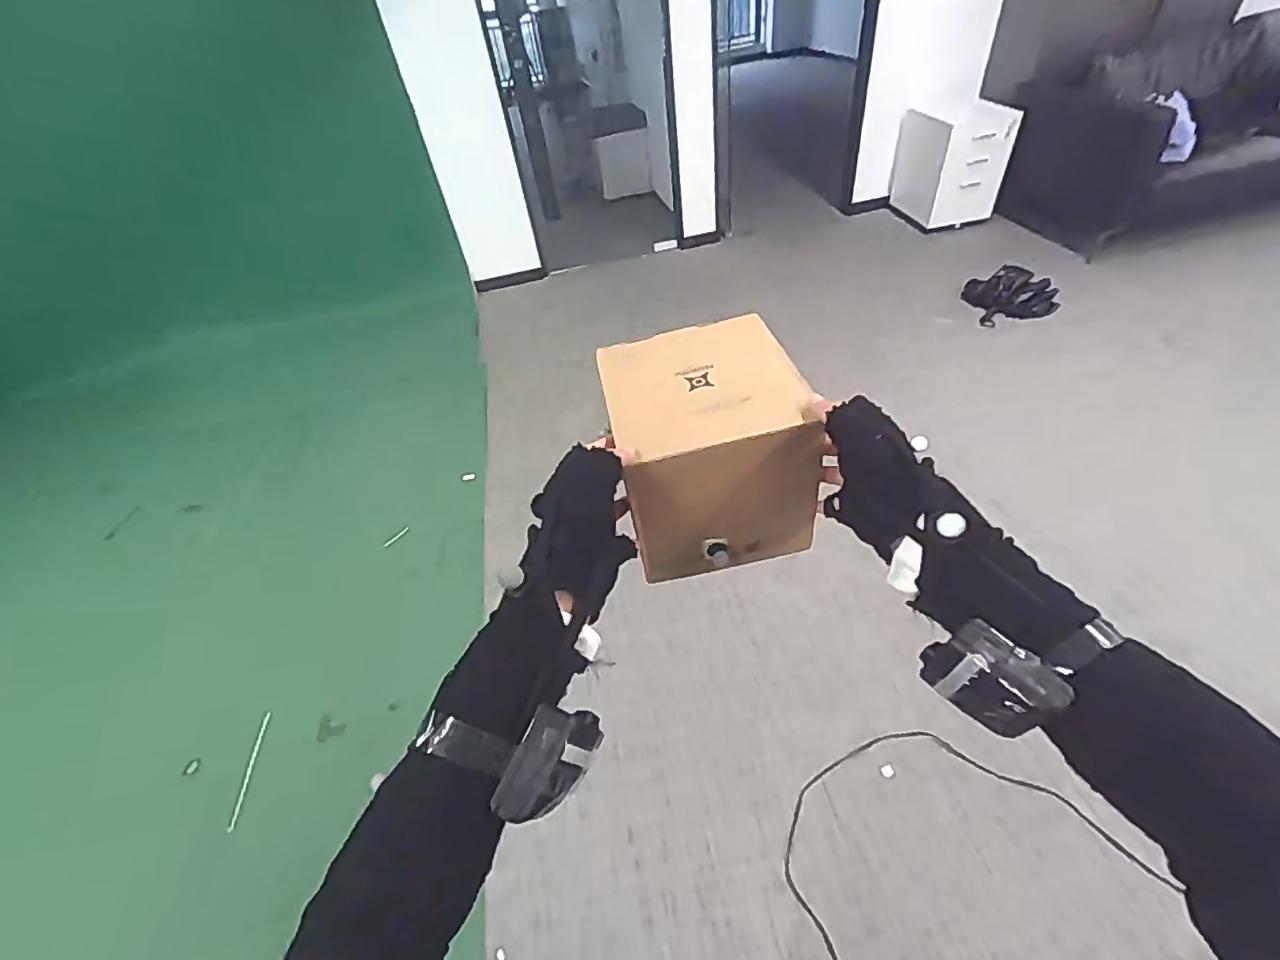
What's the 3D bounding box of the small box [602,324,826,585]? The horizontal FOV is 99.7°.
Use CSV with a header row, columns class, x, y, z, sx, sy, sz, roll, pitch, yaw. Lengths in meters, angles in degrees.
class,x,y,z,sx,sy,sz,roll,pitch,yaw
small box,0.064,-0.025,0.535,0.168,0.176,0.179,-13,44,-1
